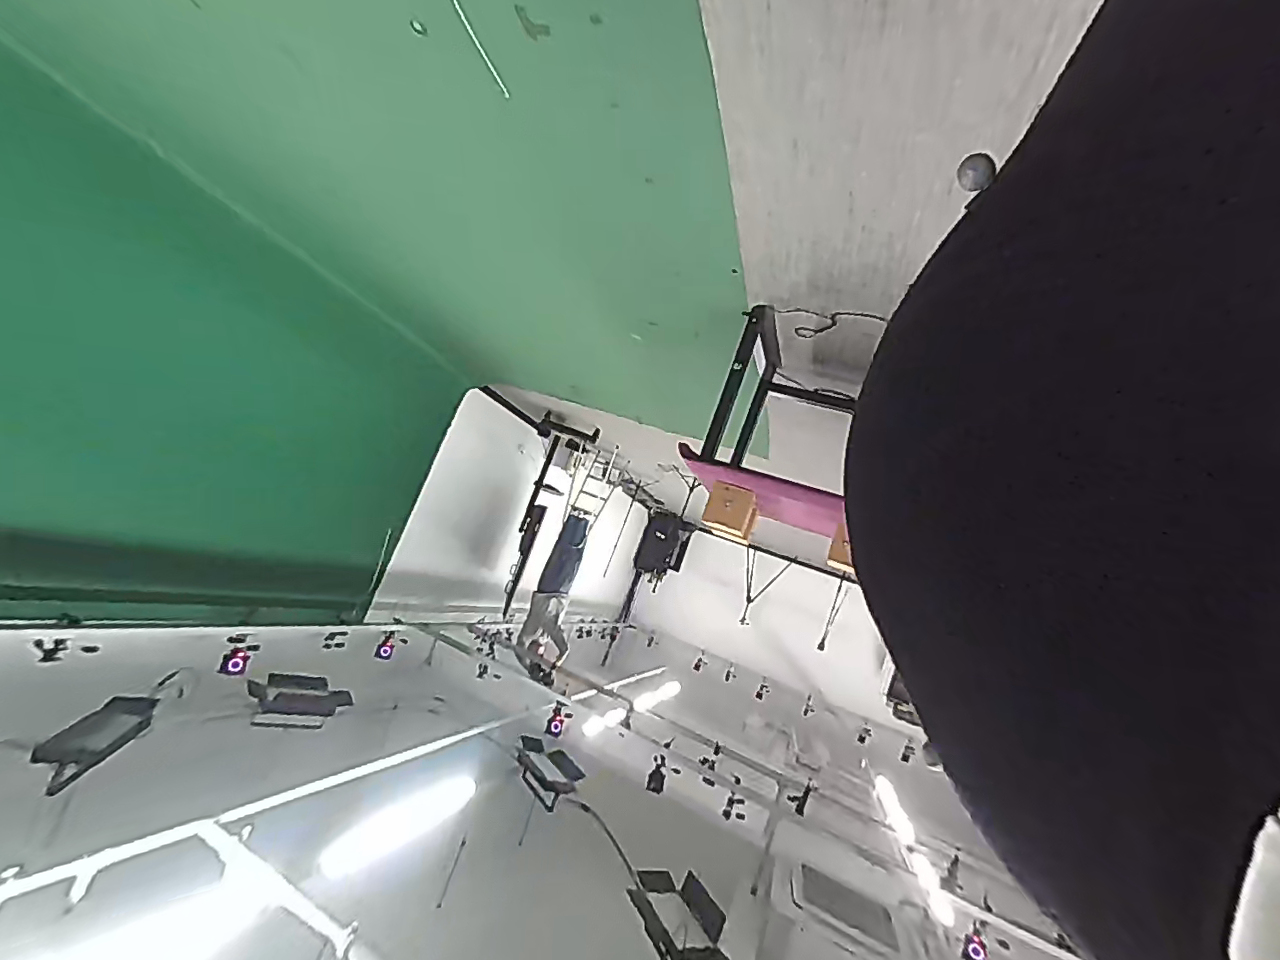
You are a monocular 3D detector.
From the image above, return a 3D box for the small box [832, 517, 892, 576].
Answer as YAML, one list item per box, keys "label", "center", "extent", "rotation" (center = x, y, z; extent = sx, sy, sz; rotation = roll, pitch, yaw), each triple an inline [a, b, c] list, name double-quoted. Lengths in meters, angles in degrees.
- label: "small box"
  center: [0.814, 0.242, 1.986]
  extent: [0.168, 0.176, 0.179]
  rotation: [18, 174, 24]

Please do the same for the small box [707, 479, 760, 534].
- label: "small box"
  center: [0.377, 0.103, 2.161]
  extent: [0.168, 0.176, 0.179]
  rotation: [18, 174, 16]

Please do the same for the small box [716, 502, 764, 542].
- label: "small box"
  center: [0.452, 0.166, 2.419]
  extent: [0.168, 0.176, 0.179]
  rotation: [18, 172, 16]
